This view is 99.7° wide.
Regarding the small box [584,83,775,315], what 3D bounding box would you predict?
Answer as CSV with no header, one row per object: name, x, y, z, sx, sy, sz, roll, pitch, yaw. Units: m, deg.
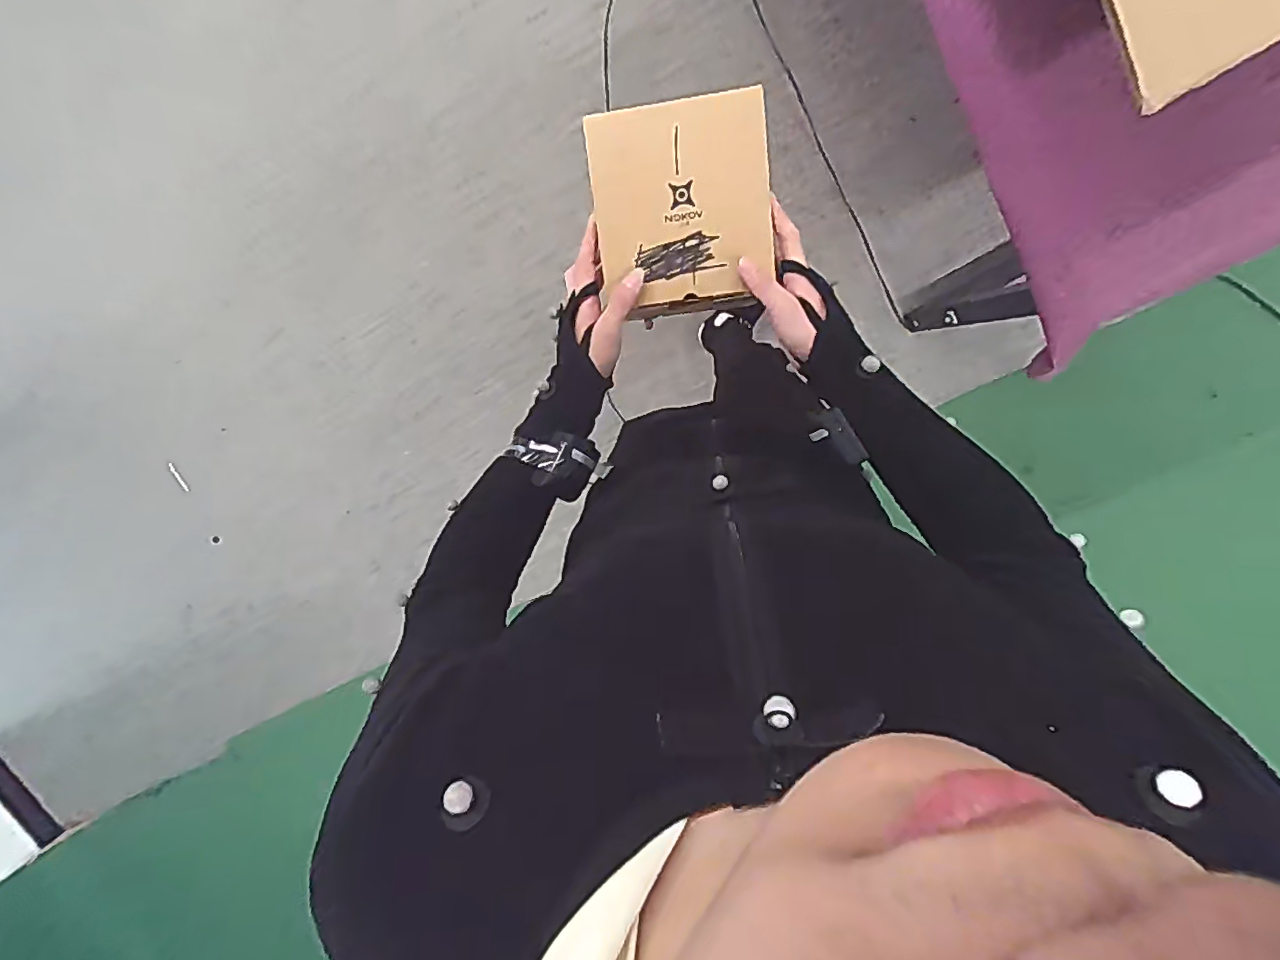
small box,0.045,-0.275,0.575,0.168,0.176,0.179,-6,102,5
